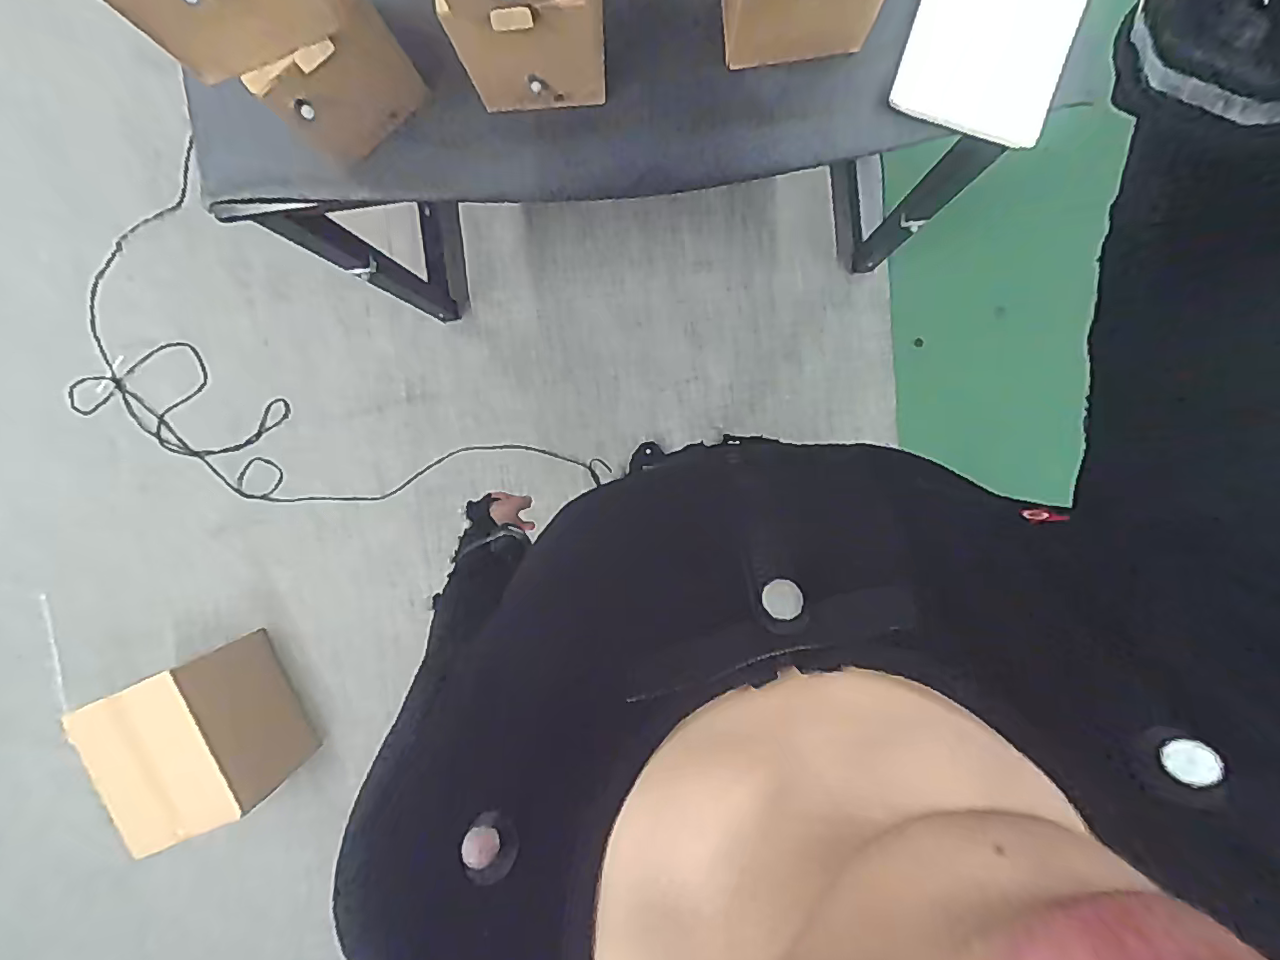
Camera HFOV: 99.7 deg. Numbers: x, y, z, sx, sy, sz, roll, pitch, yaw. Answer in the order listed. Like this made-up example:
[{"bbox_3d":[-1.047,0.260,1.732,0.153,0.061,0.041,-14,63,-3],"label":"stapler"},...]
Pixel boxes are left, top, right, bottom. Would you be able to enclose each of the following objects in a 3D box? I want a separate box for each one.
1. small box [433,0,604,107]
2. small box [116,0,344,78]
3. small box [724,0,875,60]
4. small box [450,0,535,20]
[{"bbox_3d":[-0.138,-0.595,0.652,0.168,0.176,0.179,-2,93,5],"label":"small box"},{"bbox_3d":[-0.429,-0.536,0.511,0.179,0.176,0.168,-19,92,6],"label":"small box"},{"bbox_3d":[0.191,-0.638,0.628,0.179,0.176,0.168,-6,92,6],"label":"small box"},{"bbox_3d":[-0.144,-0.586,0.490,0.168,0.176,0.179,-13,92,6],"label":"small box"}]
